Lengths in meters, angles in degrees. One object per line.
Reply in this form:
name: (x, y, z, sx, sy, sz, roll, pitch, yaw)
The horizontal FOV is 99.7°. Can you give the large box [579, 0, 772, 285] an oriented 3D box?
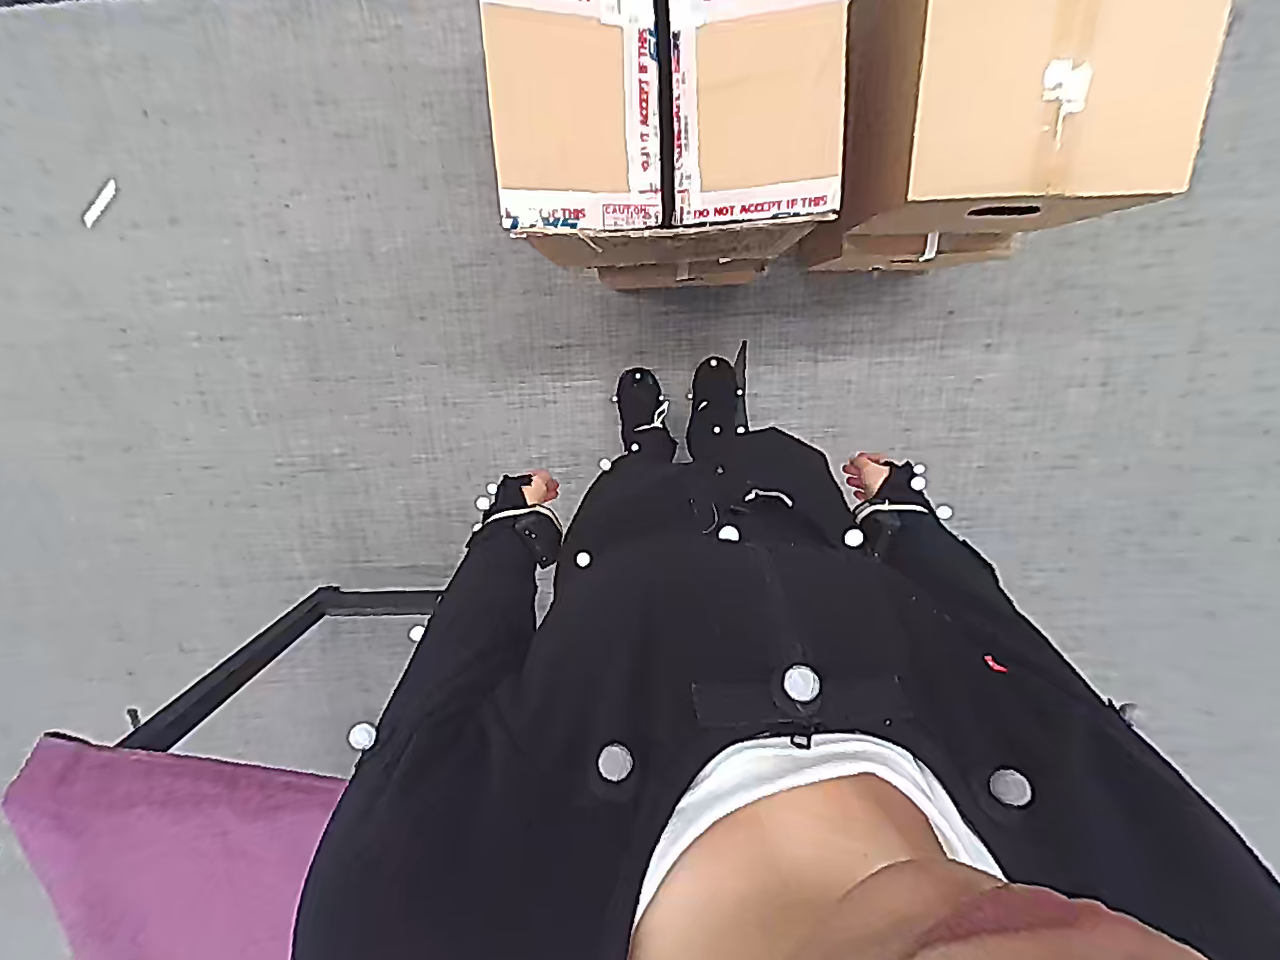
large box: (0.072, -0.612, 1.064, 0.320, 0.320, 0.408, -3, 107, 4)
